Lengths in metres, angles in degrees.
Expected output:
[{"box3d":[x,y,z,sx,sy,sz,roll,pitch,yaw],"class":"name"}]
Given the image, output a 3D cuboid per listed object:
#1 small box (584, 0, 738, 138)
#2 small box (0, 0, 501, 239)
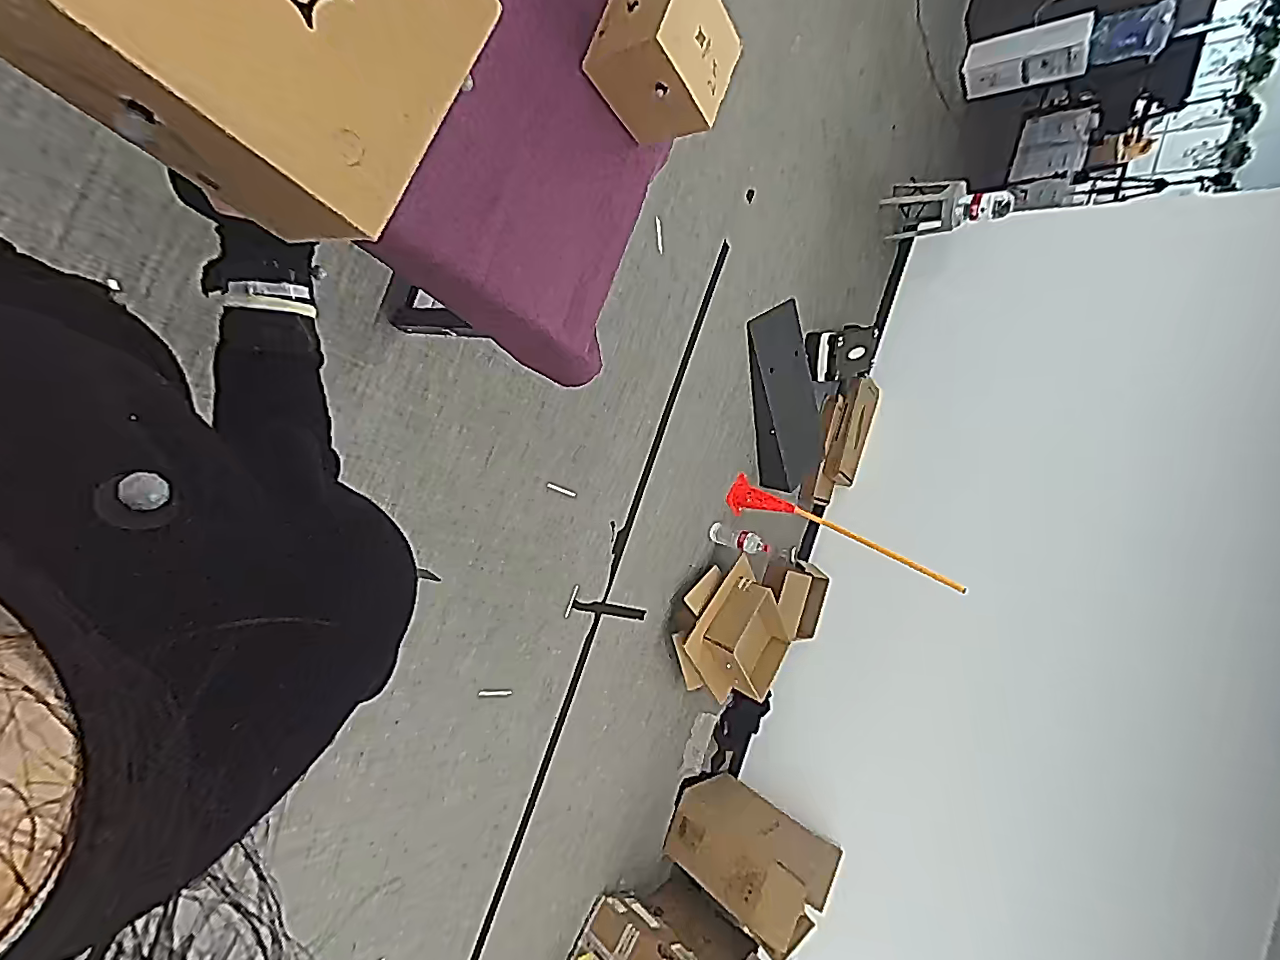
[{"box3d":[0.035,-0.723,0.921,0.179,0.176,0.168,27,82,-51],"class":"small box"},{"box3d":[-0.224,-0.268,0.324,0.168,0.176,0.179,31,80,-50],"class":"small box"}]
